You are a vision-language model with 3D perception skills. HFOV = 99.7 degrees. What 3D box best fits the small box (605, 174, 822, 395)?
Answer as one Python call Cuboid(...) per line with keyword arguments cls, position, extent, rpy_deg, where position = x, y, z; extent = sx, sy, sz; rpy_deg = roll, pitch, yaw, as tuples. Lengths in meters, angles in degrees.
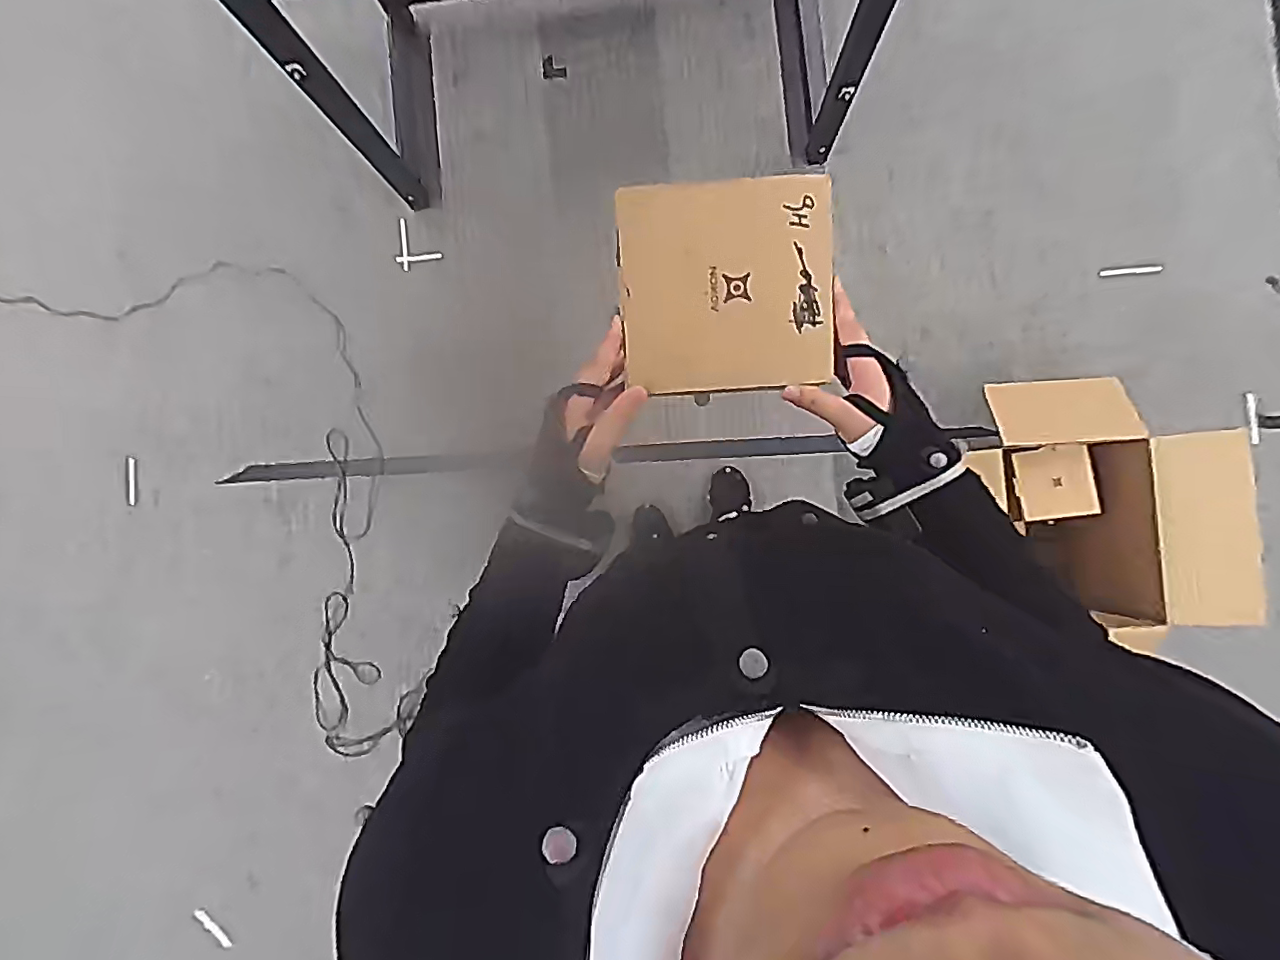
Cuboid(cls="small box", position=(0.064, -0.171, 0.525), extent=(0.179, 0.176, 0.168), rpy_deg=(-3, 98, 1))
